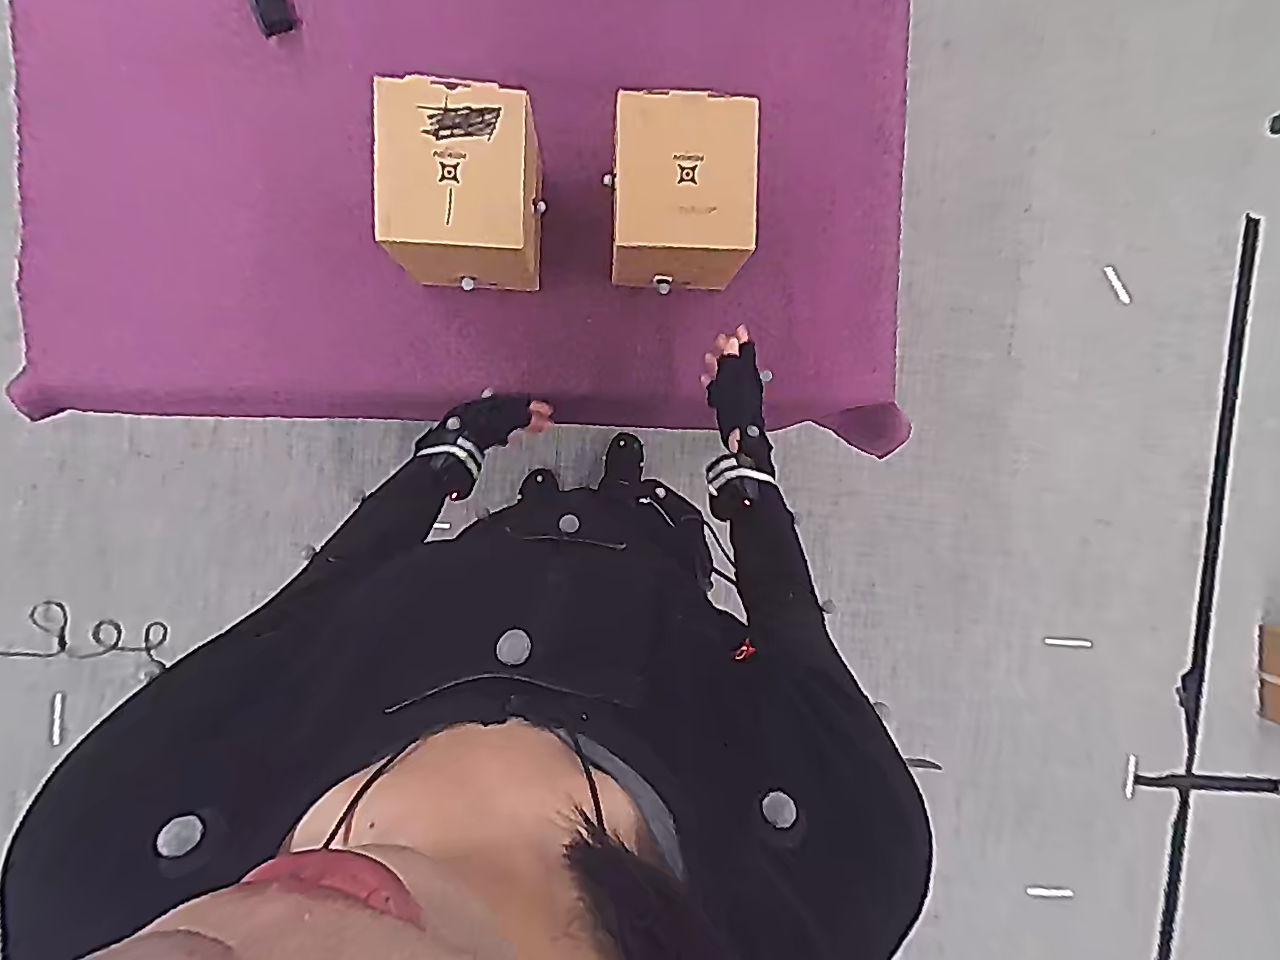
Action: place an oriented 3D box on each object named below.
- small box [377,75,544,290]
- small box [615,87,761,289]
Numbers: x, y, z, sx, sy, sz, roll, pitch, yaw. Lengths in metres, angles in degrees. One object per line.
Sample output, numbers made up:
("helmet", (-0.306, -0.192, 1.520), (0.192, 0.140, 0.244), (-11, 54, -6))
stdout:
("small box", (-0.213, -0.356, 0.679), (0.168, 0.176, 0.179), (2, 93, -5))
("small box", (0.053, -0.363, 0.702), (0.168, 0.176, 0.179), (0, 94, -3))
